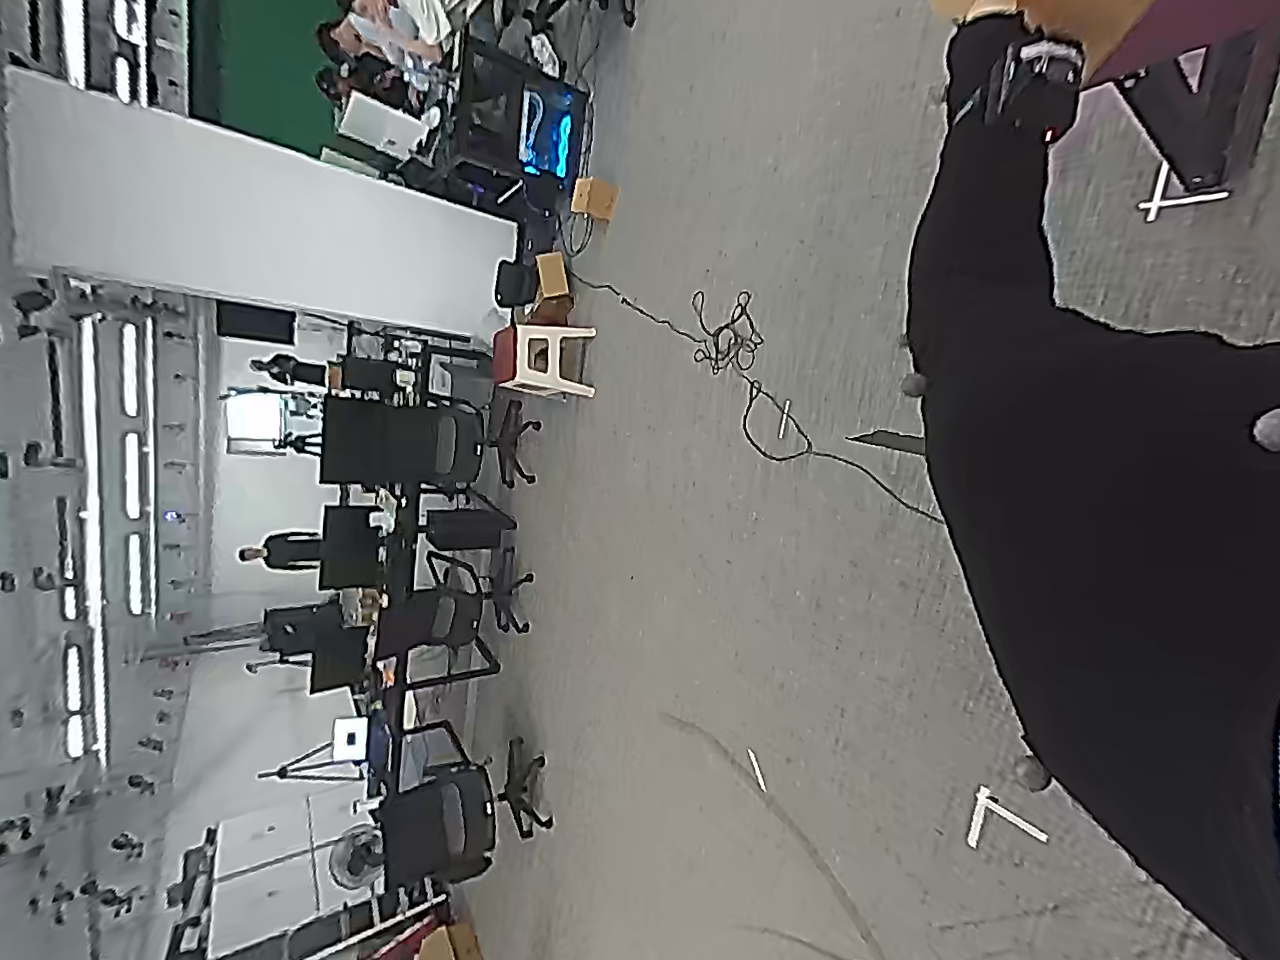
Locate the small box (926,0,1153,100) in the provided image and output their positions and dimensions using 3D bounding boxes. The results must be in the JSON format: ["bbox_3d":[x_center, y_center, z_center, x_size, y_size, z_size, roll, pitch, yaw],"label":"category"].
[{"bbox_3d":[0.407,-0.496,0.493,0.168,0.176,0.179,41,145,8],"label":"small box"}]
